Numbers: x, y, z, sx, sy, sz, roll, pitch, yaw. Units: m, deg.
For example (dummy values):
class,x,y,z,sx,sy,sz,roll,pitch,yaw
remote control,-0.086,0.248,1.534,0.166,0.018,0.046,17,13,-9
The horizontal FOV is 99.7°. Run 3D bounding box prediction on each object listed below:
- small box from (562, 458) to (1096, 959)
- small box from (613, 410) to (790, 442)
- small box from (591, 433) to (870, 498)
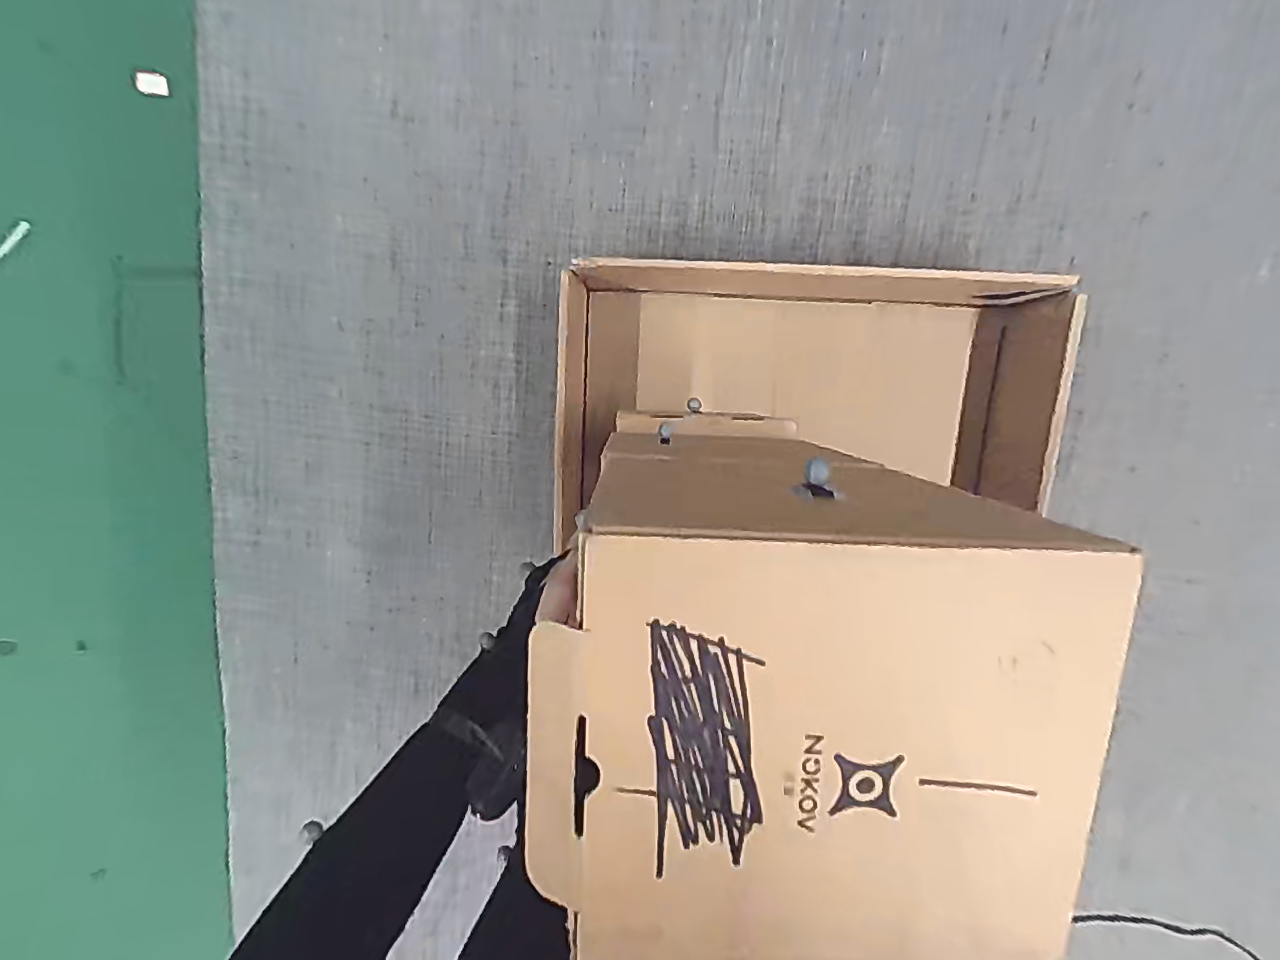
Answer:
class,x,y,z,sx,sy,sz,roll,pitch,yaw
small box,0.060,0.082,0.268,0.179,0.176,0.168,1,100,-1
small box,0.054,0.016,0.588,0.168,0.176,0.179,1,98,-2
small box,0.055,0.053,0.428,0.179,0.176,0.168,1,100,0
